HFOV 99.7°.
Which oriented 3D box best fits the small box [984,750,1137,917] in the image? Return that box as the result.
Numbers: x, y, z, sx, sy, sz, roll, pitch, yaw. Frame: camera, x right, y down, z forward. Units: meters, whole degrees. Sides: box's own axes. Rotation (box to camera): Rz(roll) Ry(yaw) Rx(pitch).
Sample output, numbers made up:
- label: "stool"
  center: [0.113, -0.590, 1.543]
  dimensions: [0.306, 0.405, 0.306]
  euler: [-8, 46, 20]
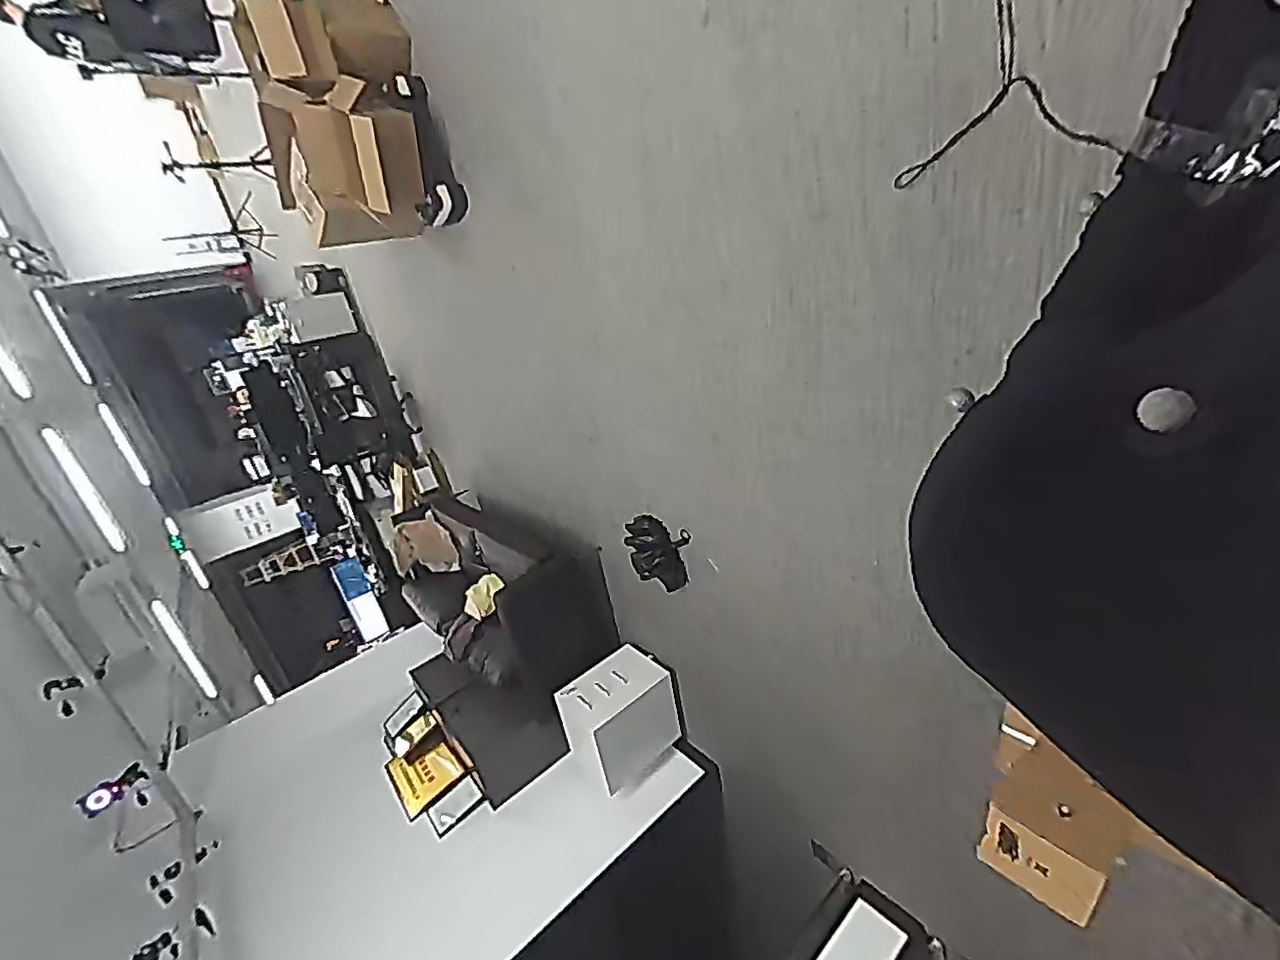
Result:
- label: "small box"
  center: [0.794, 0.654, 1.028]
  dimensions: [0.179, 0.176, 0.168]
  euler: [21, 129, 45]

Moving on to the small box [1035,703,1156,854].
- label: "small box"
  center: [0.926, 0.602, 1.114]
  dimensions: [0.168, 0.176, 0.179]
  euler: [18, 126, 48]
